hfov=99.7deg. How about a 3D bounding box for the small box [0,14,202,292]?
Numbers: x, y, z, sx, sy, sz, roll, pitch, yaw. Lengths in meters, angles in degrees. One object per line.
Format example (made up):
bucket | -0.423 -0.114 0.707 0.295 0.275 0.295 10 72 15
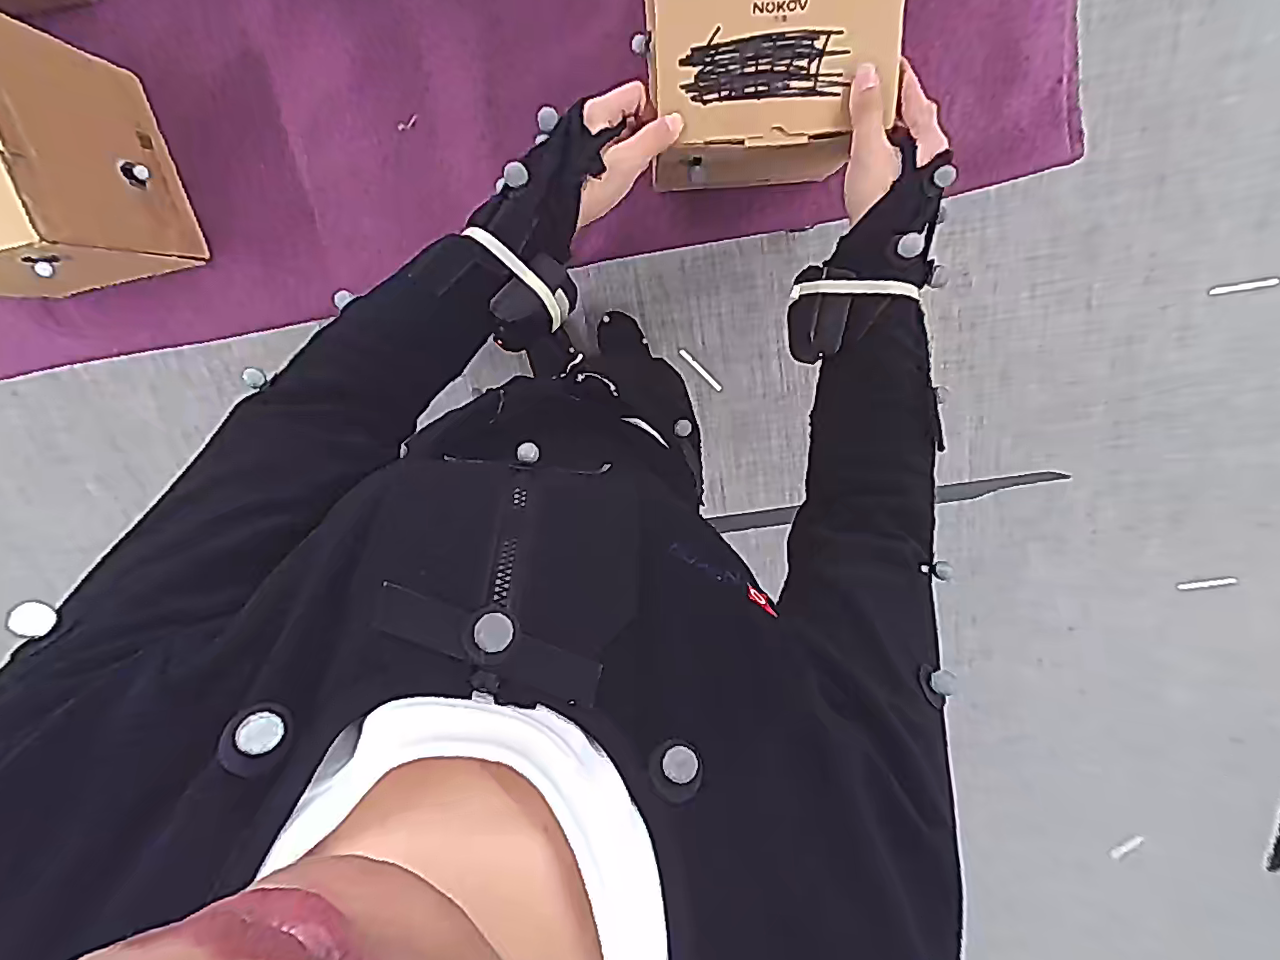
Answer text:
small box | -0.538 -0.260 0.455 0.179 0.176 0.168 -12 107 3
